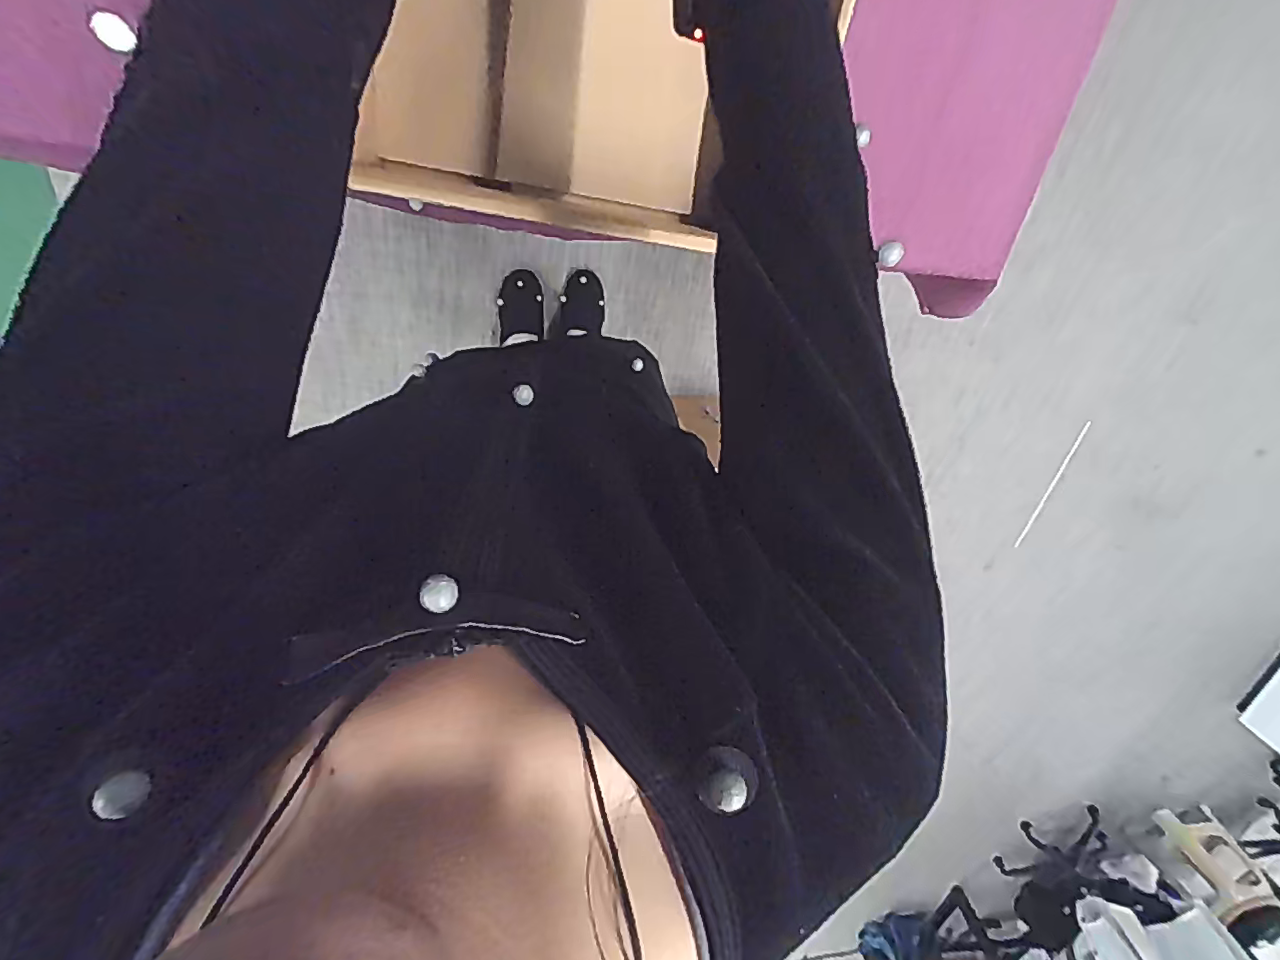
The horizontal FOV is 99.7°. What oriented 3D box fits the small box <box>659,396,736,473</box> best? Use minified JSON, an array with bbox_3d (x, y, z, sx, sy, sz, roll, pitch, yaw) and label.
[{"bbox_3d":[0.151,-0.129,1.501,0.179,0.176,0.168,0,119,-8],"label":"small box"}]
